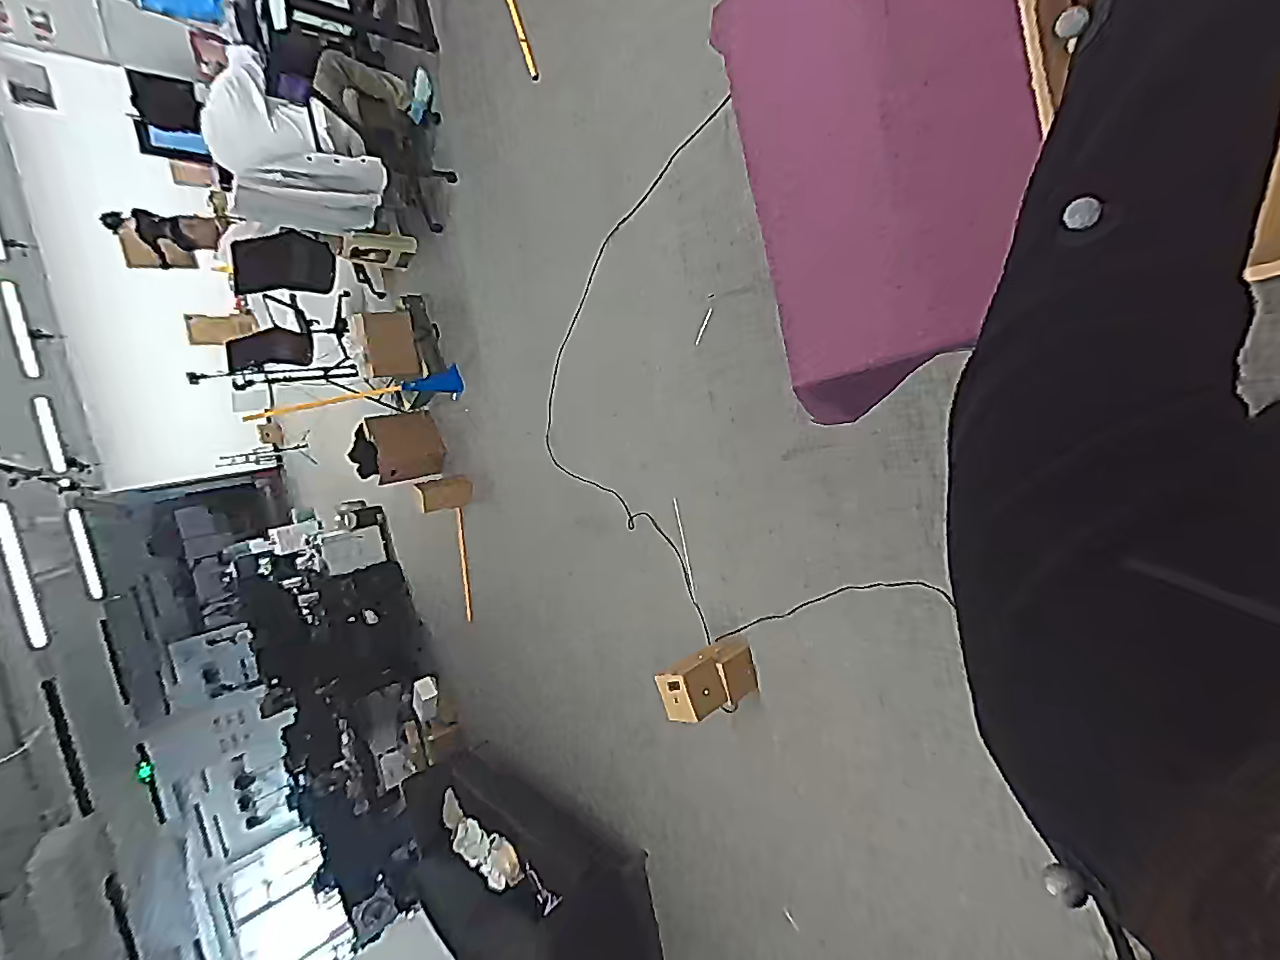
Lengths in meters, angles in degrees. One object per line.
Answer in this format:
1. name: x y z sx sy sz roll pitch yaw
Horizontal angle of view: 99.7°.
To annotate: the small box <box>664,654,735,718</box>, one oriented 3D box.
1. small box: 0.224 0.761 2.021 0.168 0.176 0.179 -26 83 52
